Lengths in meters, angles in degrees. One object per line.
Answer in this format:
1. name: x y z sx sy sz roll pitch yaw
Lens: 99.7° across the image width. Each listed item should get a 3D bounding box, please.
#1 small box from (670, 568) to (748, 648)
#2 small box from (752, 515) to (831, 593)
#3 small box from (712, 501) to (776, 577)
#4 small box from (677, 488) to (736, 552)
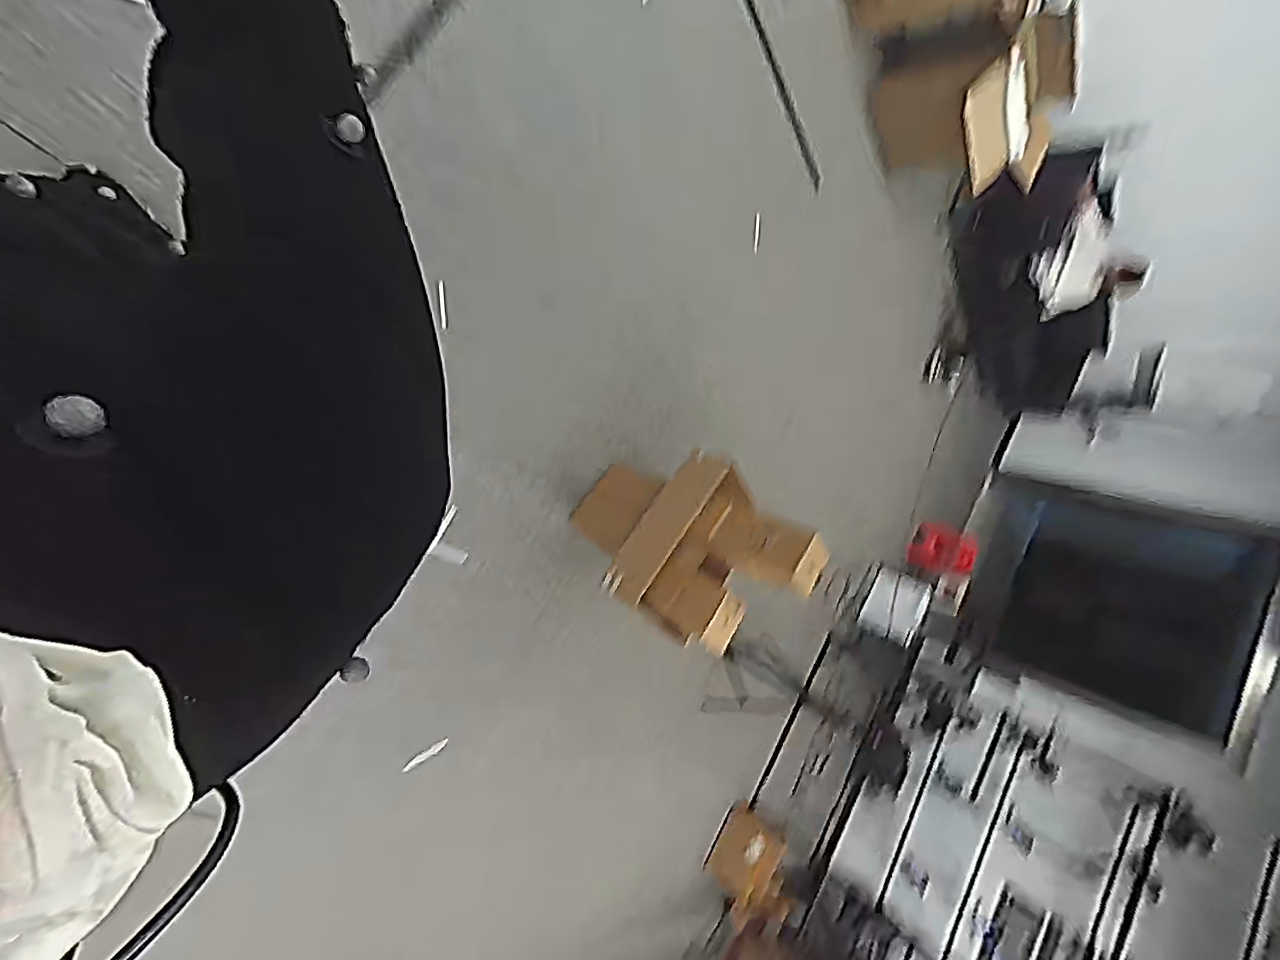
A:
1. small box: 0.224 0.423 1.801 0.179 0.176 0.168 -55 135 -14
2. small box: 0.494 0.238 1.768 0.168 0.176 0.179 -56 136 -15
3. small box: 0.380 0.199 1.878 0.179 0.176 0.168 -53 135 -16
4. small box: 0.266 0.148 1.987 0.168 0.176 0.179 -55 135 -14
